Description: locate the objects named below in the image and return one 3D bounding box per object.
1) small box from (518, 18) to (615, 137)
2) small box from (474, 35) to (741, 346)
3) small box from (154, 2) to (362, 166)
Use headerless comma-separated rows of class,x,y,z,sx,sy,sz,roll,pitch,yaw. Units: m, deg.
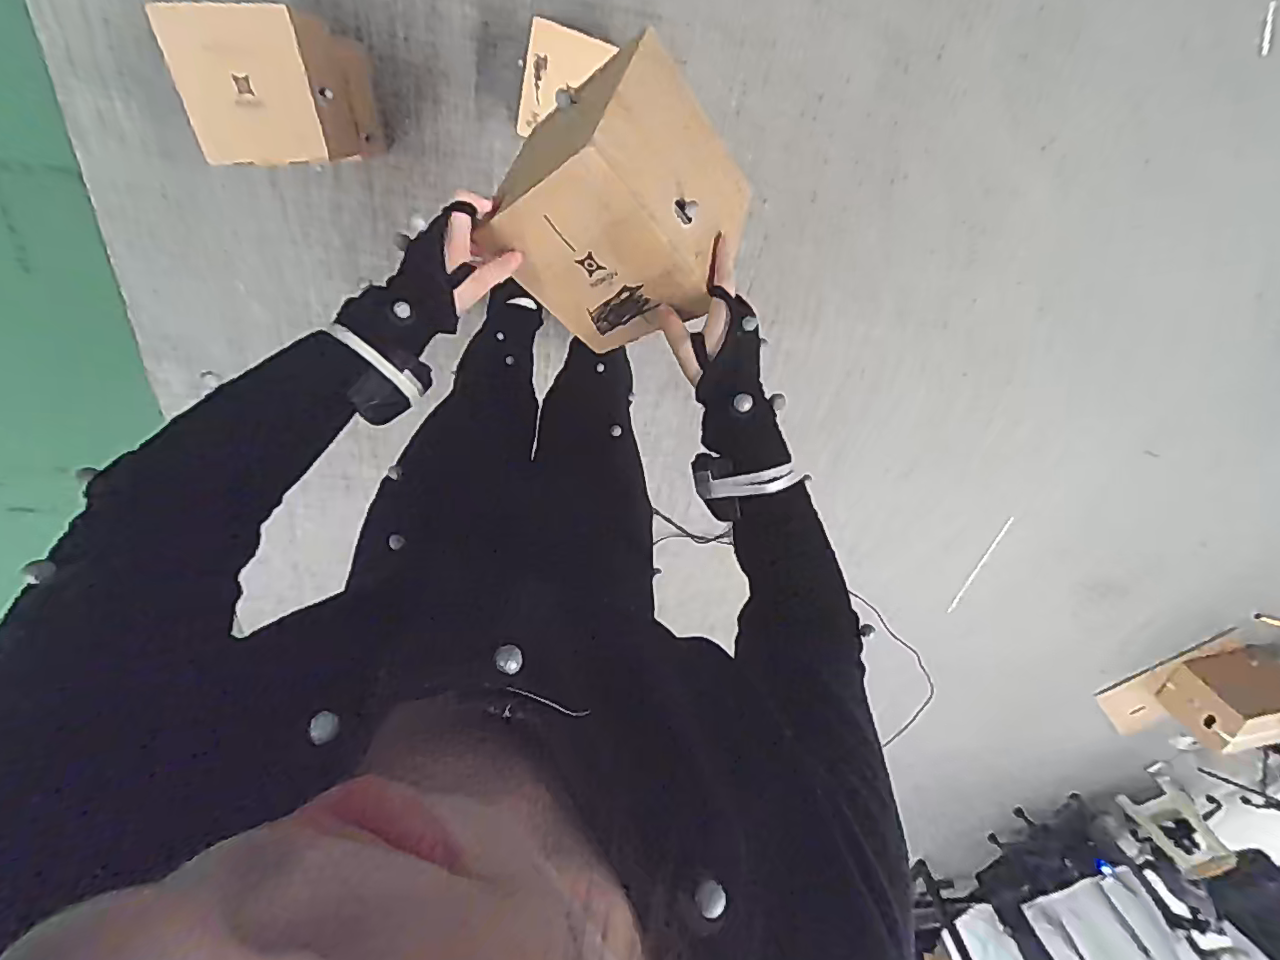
small box,-0.115,-0.688,0.971,0.179,0.176,0.168,10,122,-17
small box,-0.020,-0.268,0.530,0.168,0.176,0.179,-9,144,42
small box,-0.529,-0.566,0.785,0.168,0.176,0.179,-5,125,-7
